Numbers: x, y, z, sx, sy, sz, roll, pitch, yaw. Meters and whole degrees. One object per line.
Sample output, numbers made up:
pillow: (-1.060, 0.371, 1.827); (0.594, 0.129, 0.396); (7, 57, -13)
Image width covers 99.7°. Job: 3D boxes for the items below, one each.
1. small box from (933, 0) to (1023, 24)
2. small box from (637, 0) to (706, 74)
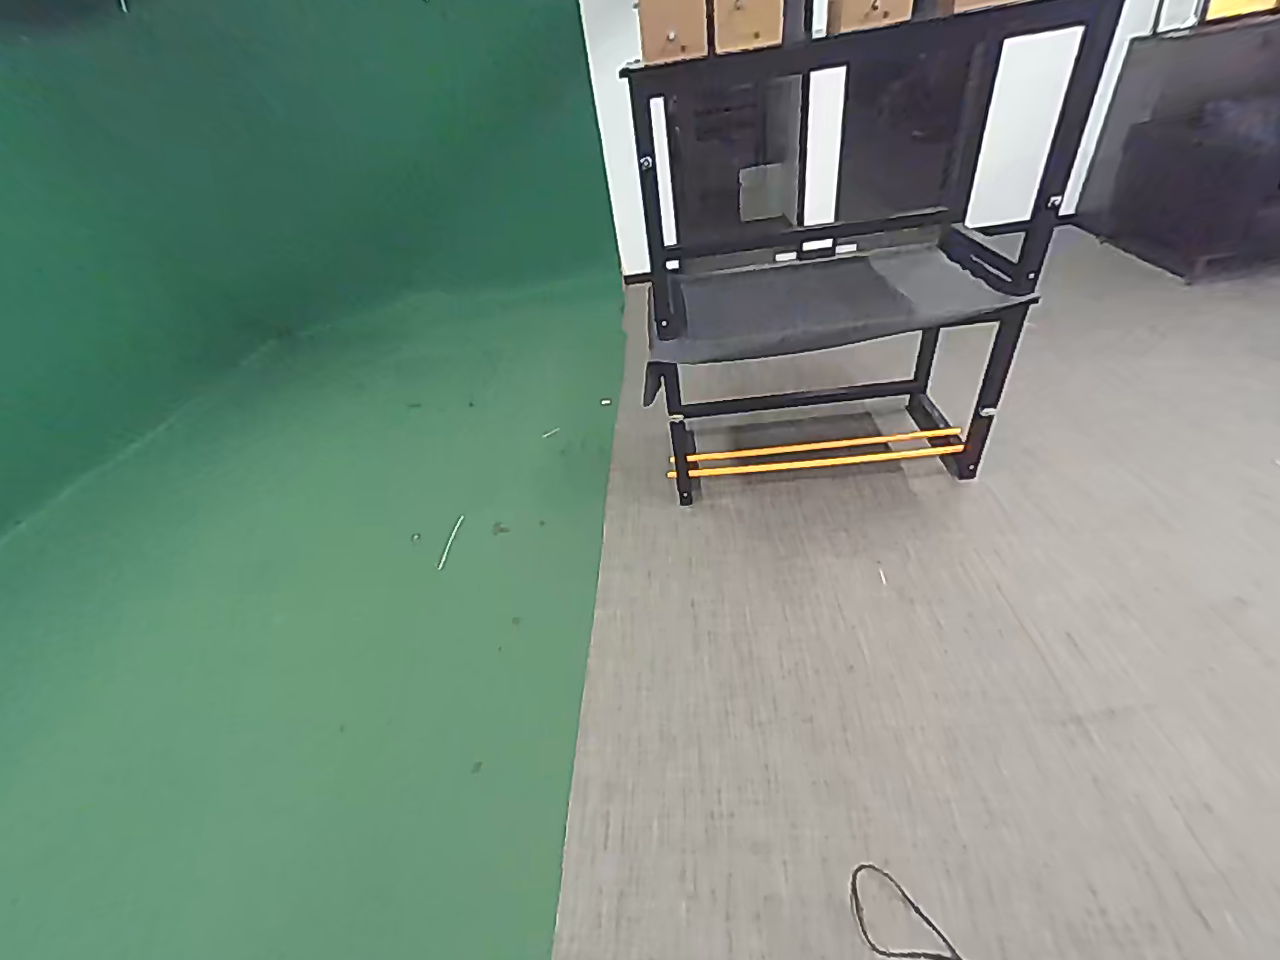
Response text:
small box: (0.835, -1.236, 1.316); (0.168, 0.176, 0.179); (0, 39, 13)
small box: (0.080, -1.180, 1.418); (0.168, 0.176, 0.179); (-6, 39, 4)
